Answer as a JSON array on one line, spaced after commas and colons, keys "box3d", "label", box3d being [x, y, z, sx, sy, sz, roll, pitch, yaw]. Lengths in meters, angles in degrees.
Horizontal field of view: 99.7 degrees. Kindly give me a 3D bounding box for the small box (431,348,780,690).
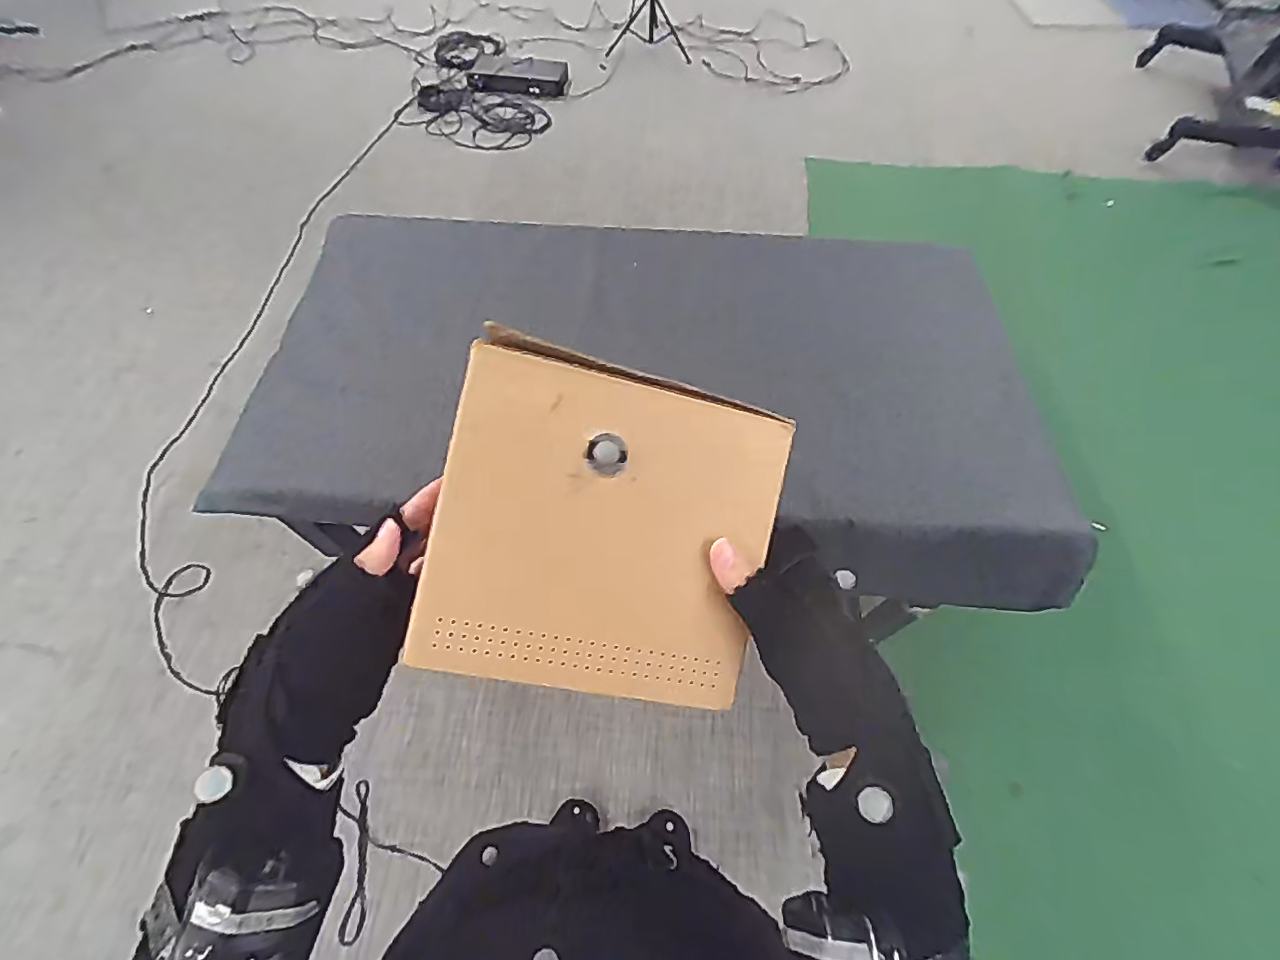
[{"box3d": [-0.031, 0.029, 0.376, 0.179, 0.168, 0.176, 14, 89, -12], "label": "small box"}]
